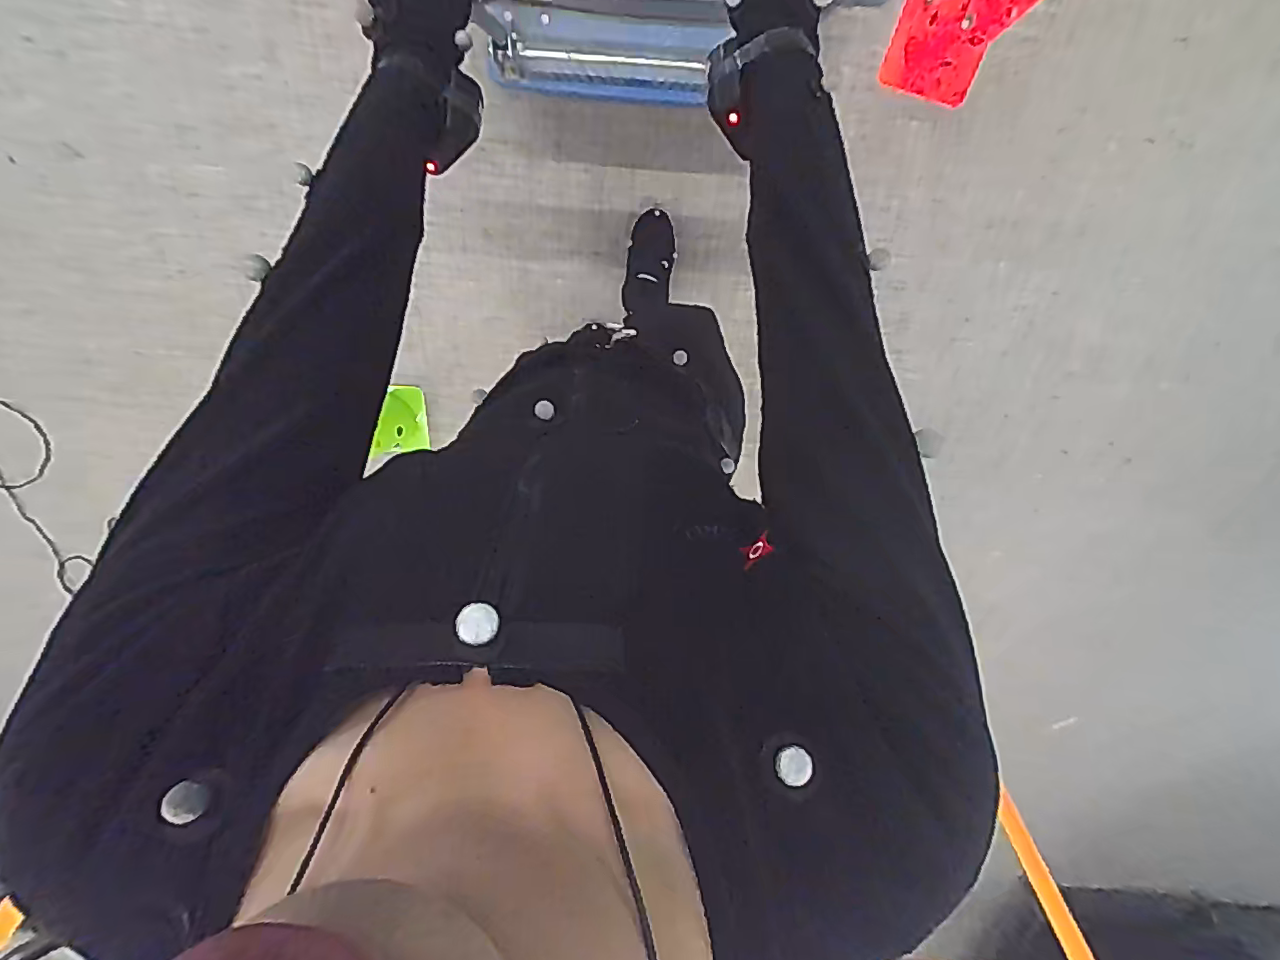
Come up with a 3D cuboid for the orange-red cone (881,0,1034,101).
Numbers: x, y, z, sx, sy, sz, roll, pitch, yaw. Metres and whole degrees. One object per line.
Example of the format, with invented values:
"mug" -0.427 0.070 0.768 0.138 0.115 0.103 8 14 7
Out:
"orange-red cone" 0.616 -0.839 0.960 0.198 0.360 0.199 15 117 -5
